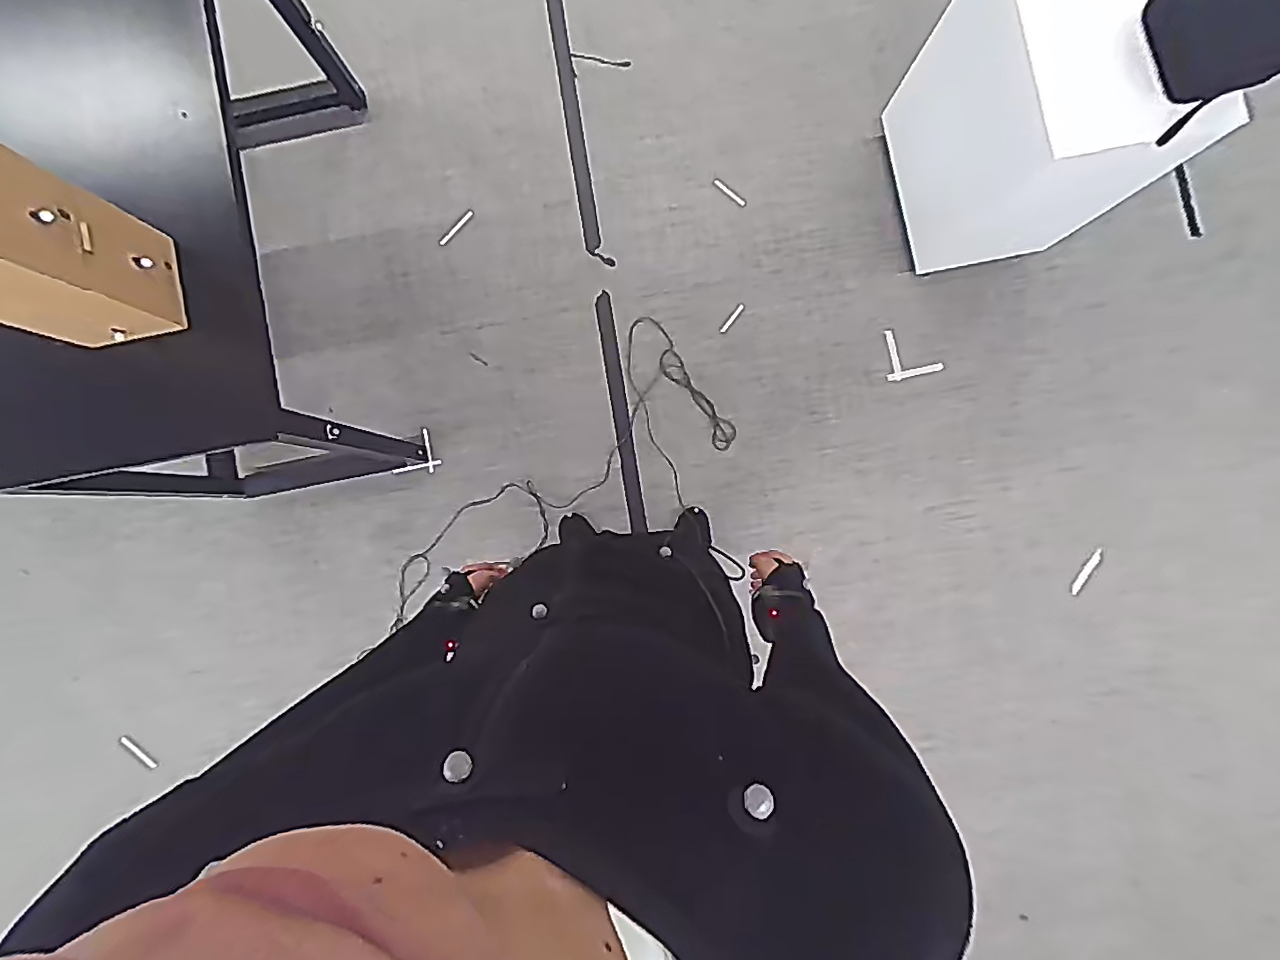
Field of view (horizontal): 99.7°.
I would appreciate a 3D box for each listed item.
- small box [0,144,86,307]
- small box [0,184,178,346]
[{"bbox_3d":[-0.881,-0.333,0.687,0.179,0.176,0.168,-11,88,0],"label":"small box"},{"bbox_3d":[-0.878,-0.326,0.852,0.179,0.176,0.168,-12,87,-1],"label":"small box"}]
